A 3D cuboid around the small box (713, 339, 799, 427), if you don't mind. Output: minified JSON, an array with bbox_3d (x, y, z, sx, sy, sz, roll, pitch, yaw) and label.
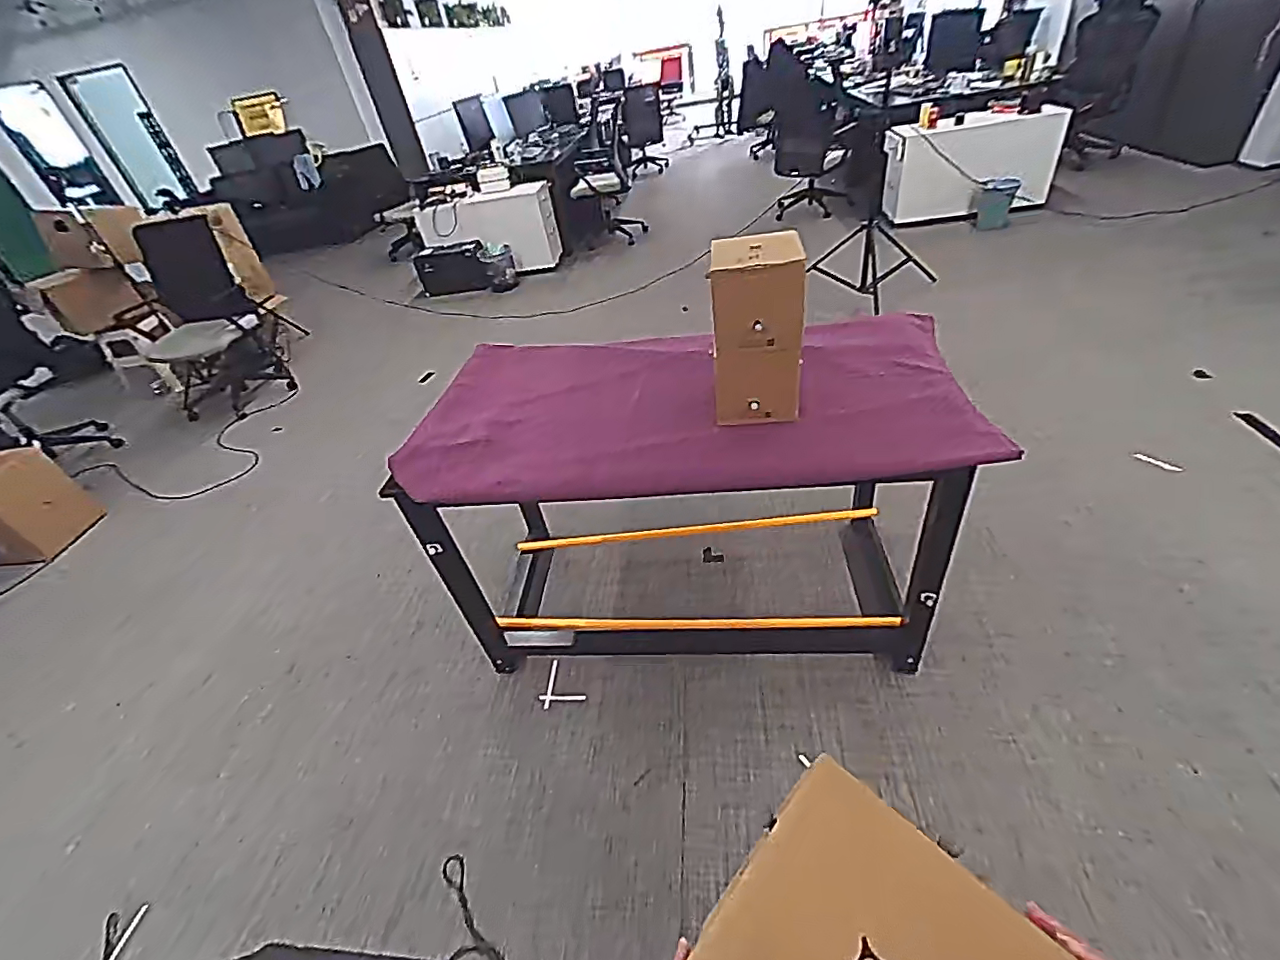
[{"bbox_3d":[0.246,-0.230,1.161,0.168,0.176,0.179,-2,40,11],"label":"small box"}]

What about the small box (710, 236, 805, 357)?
[{"bbox_3d":[0.226,-0.358,1.057,0.168,0.176,0.179,-3,39,11],"label":"small box"}]
